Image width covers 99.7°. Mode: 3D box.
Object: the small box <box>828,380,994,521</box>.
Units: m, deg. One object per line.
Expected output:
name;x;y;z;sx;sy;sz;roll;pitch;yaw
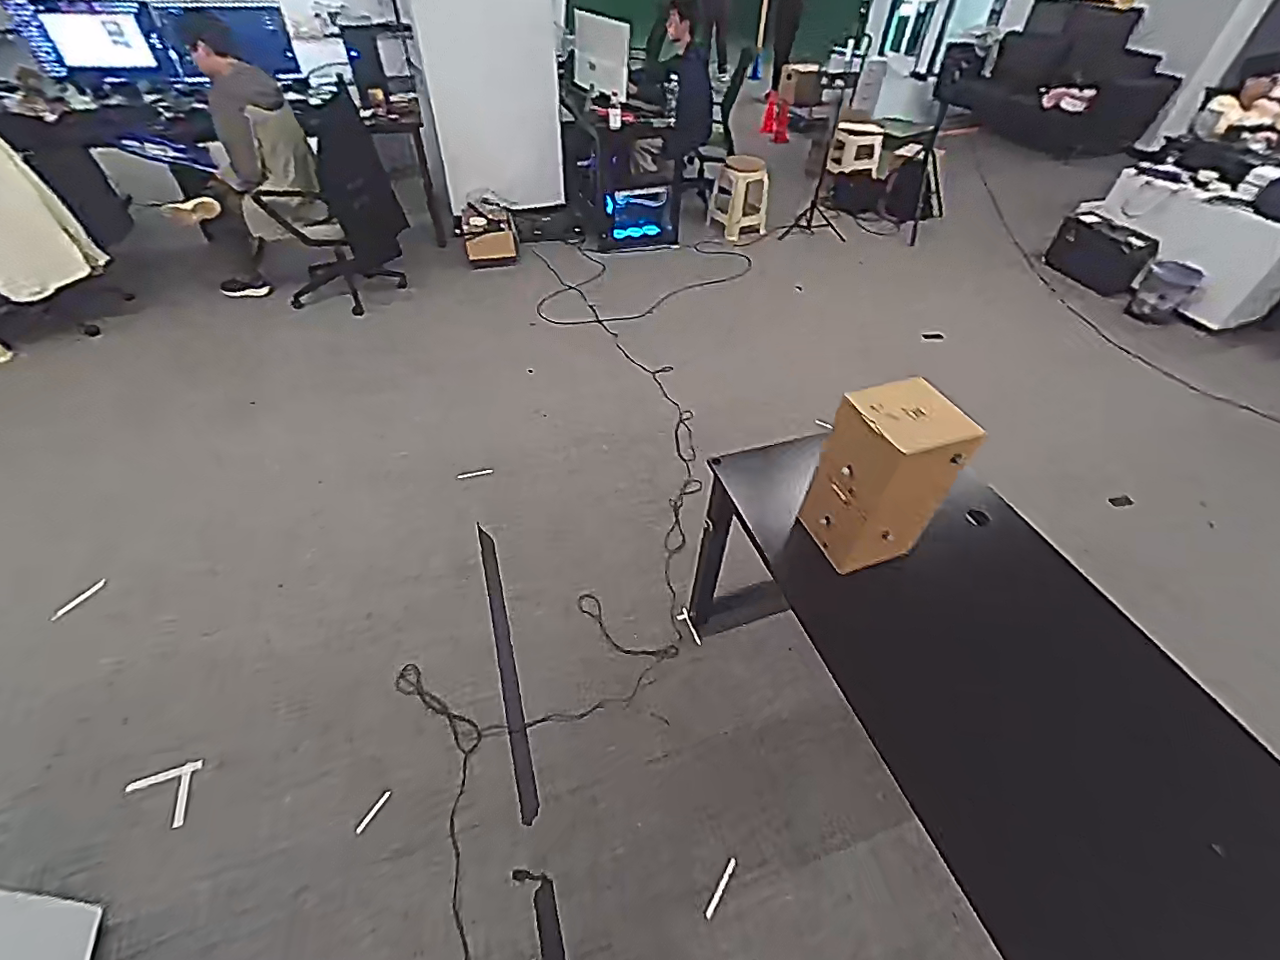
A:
small box;0.469;-0.052;0.968;0.179;0.176;0.168;-13;48;-15

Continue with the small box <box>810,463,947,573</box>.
small box;0.462;0.062;1.087;0.179;0.176;0.168;-14;49;-15
